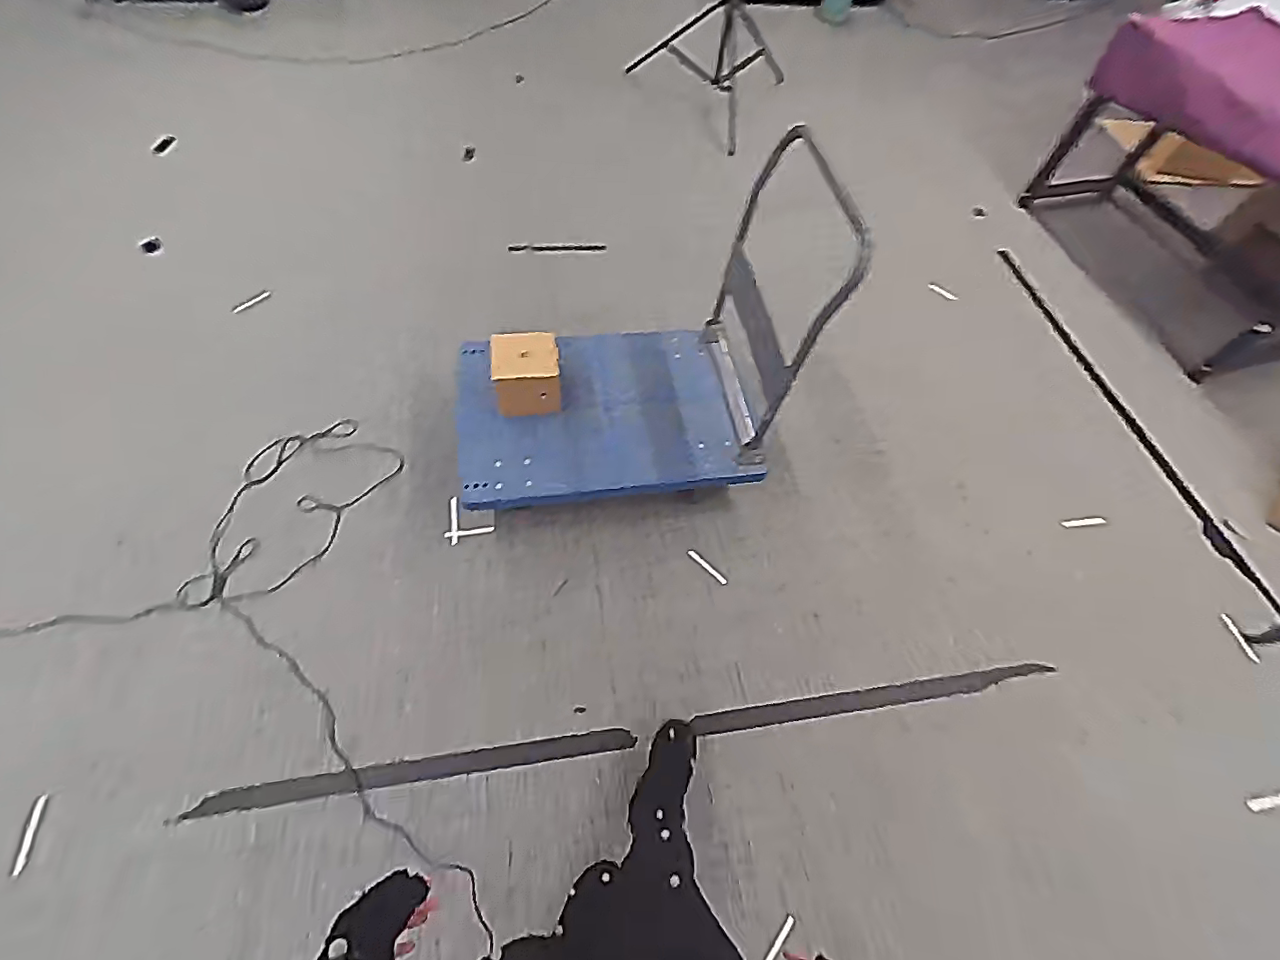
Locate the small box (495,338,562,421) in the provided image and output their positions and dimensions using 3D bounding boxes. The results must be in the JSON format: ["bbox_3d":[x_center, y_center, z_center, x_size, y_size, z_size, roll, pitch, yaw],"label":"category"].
[{"bbox_3d":[-0.316,-0.284,1.549,0.179,0.176,0.168,-6,59,-9],"label":"small box"}]
